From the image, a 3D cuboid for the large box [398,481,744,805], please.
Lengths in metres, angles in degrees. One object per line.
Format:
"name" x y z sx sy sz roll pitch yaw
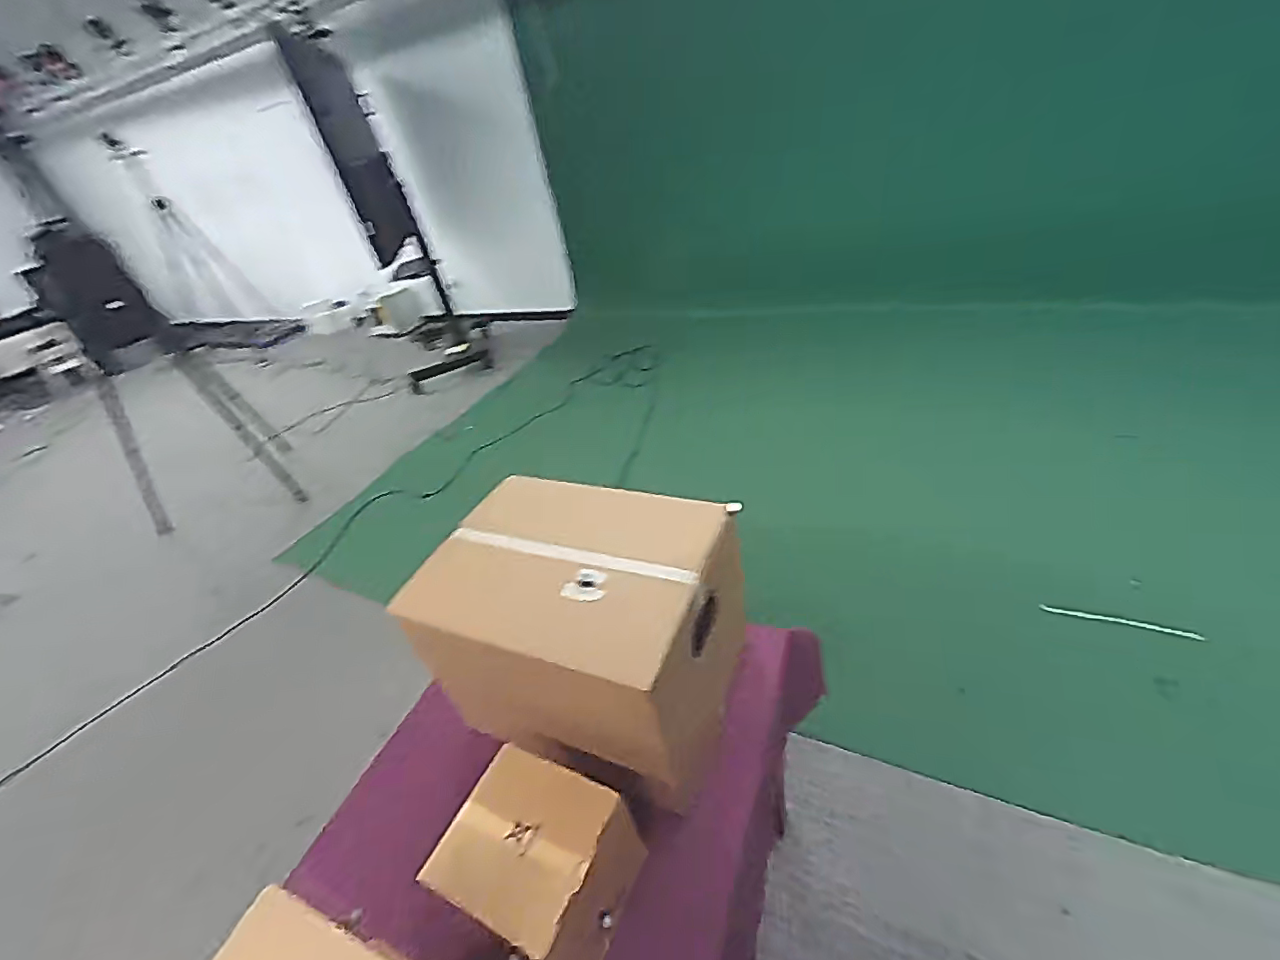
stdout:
"large box" -0.076 0.230 0.855 0.408 0.320 0.320 8 40 25
